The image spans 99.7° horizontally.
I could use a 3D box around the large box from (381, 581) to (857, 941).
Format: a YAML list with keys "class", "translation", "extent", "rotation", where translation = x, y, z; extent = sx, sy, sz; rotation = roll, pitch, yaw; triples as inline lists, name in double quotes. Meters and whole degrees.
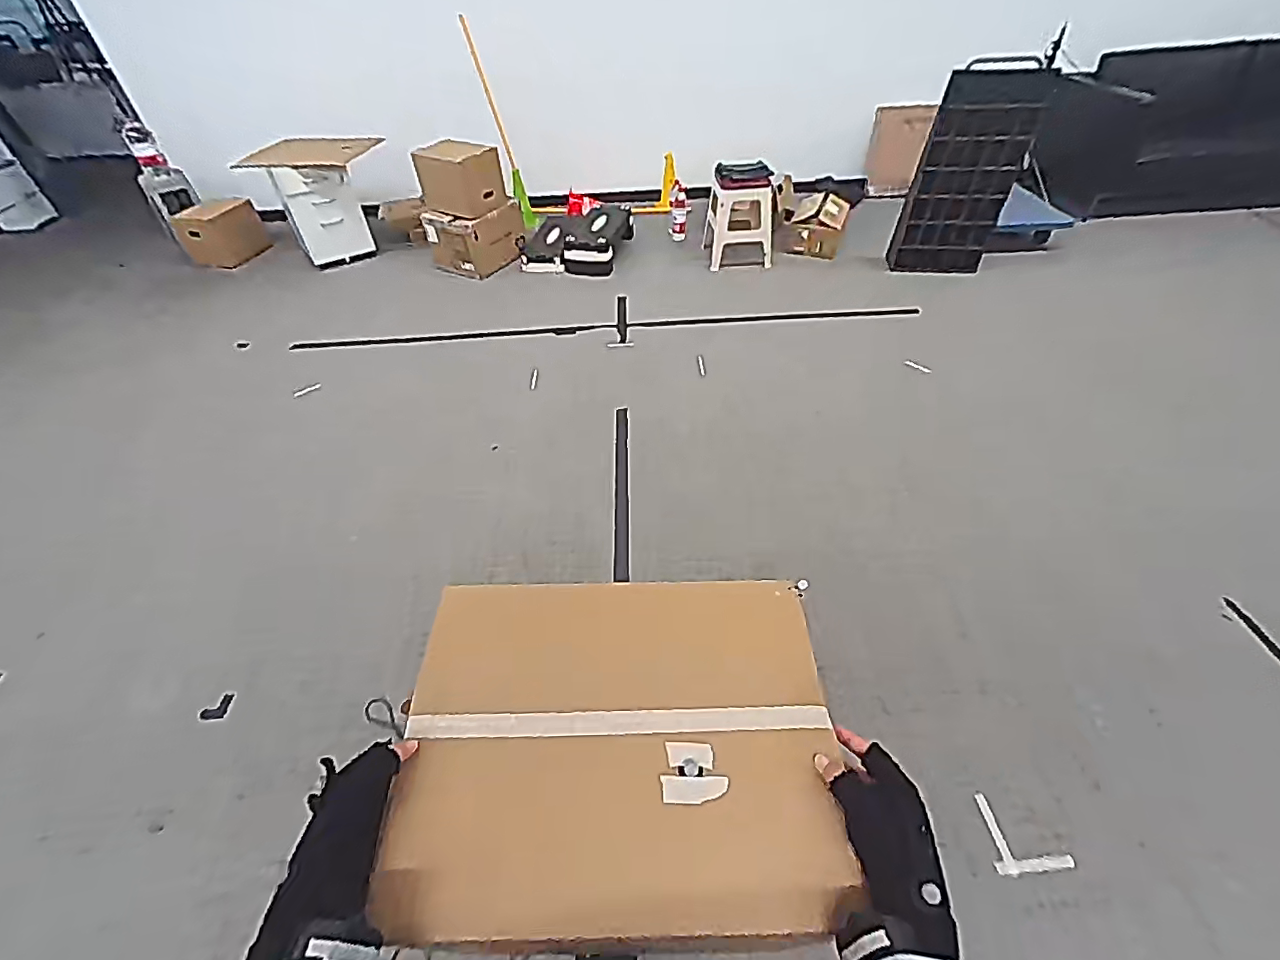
- class: "large box"
  translation: [-0.021, 0.339, 0.652]
  extent: [0.408, 0.320, 0.320]
  rotation: [-1, 48, -1]
